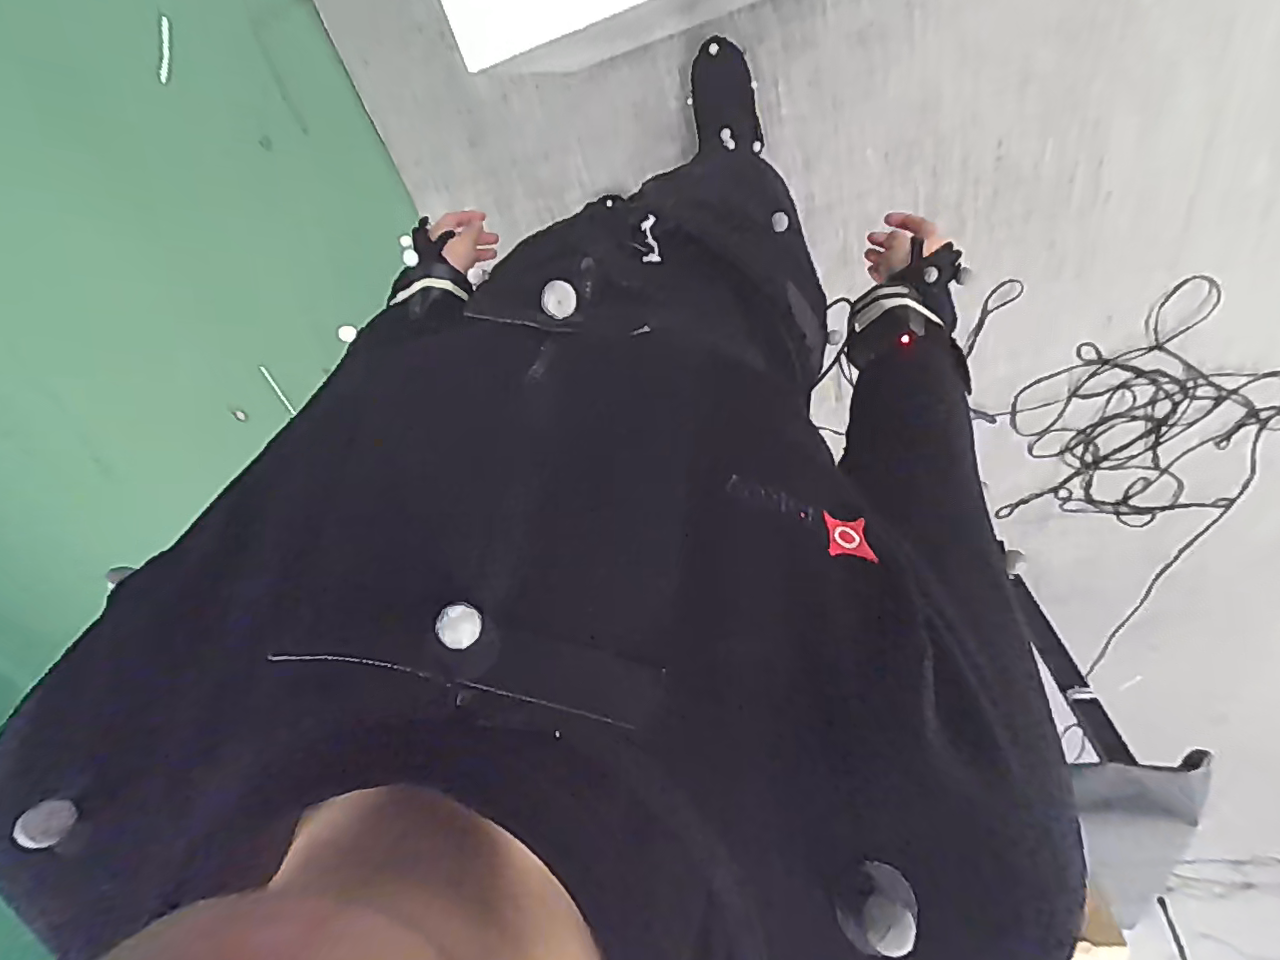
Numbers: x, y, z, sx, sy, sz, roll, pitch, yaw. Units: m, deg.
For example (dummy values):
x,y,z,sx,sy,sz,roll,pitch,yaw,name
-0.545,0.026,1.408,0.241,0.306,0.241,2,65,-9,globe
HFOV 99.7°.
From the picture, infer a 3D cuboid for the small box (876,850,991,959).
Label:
x,y,z,sx,sy,sz,roll,pitch,yaw,name
0.630,0.933,1.180,0.179,0.176,0.168,-8,126,14,small box
